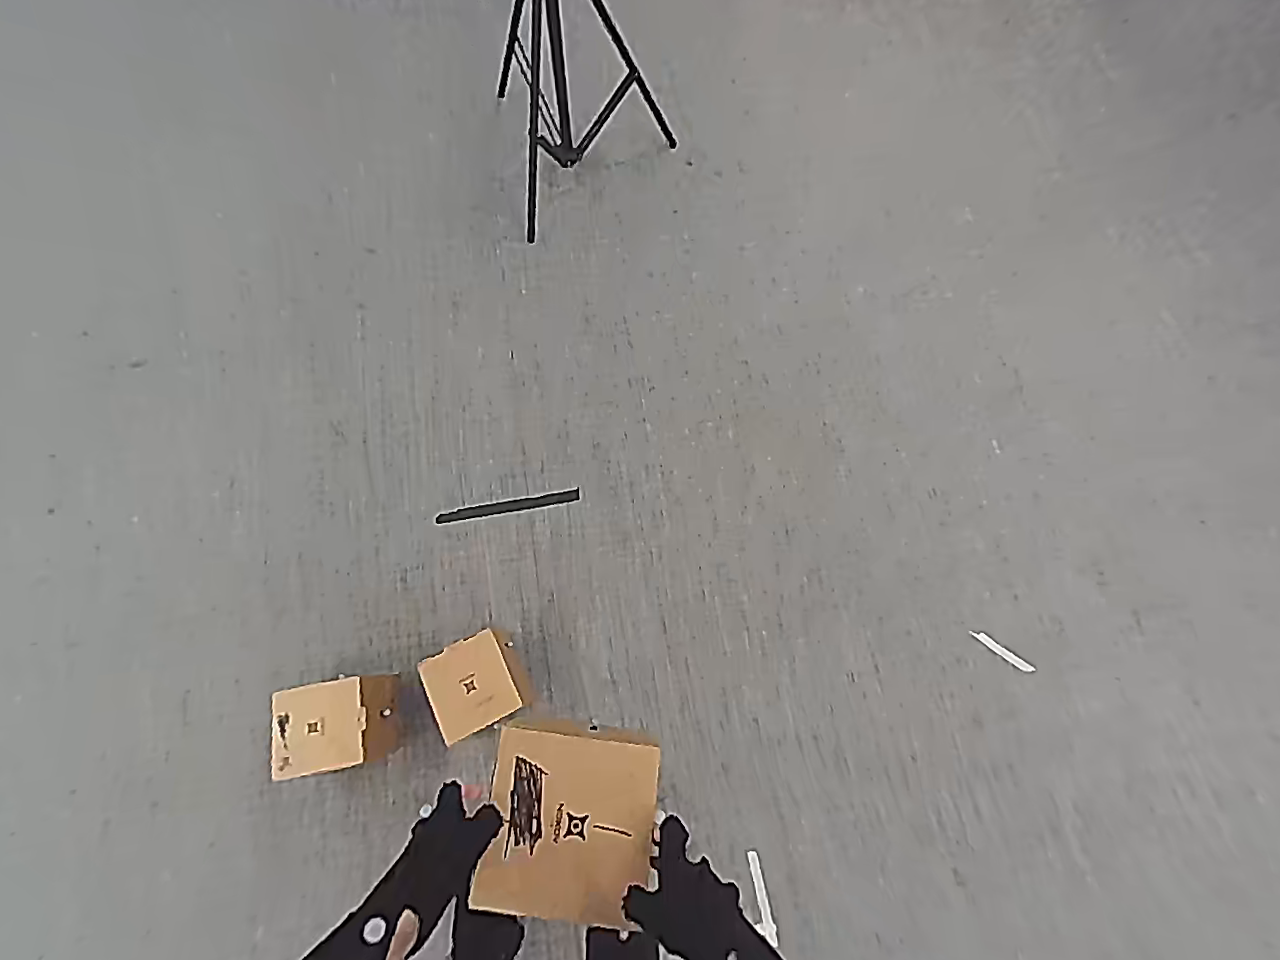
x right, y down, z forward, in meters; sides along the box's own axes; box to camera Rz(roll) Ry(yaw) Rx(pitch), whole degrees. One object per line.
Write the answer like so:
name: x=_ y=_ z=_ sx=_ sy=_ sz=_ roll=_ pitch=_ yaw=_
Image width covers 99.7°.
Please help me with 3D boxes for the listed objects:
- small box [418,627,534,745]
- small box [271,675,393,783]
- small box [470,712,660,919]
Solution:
small box: x=-0.345 y=0.436 z=1.164 sx=0.168 sy=0.176 sz=0.179 roll=-27 pitch=75 yaw=-9
small box: x=-0.632 y=0.509 z=1.130 sx=0.179 sy=0.176 sz=0.168 roll=-9 pitch=72 yaw=-5
small box: x=-0.072 y=0.368 z=0.628 sx=0.179 sy=0.176 sz=0.168 roll=6 pitch=70 yaw=2
